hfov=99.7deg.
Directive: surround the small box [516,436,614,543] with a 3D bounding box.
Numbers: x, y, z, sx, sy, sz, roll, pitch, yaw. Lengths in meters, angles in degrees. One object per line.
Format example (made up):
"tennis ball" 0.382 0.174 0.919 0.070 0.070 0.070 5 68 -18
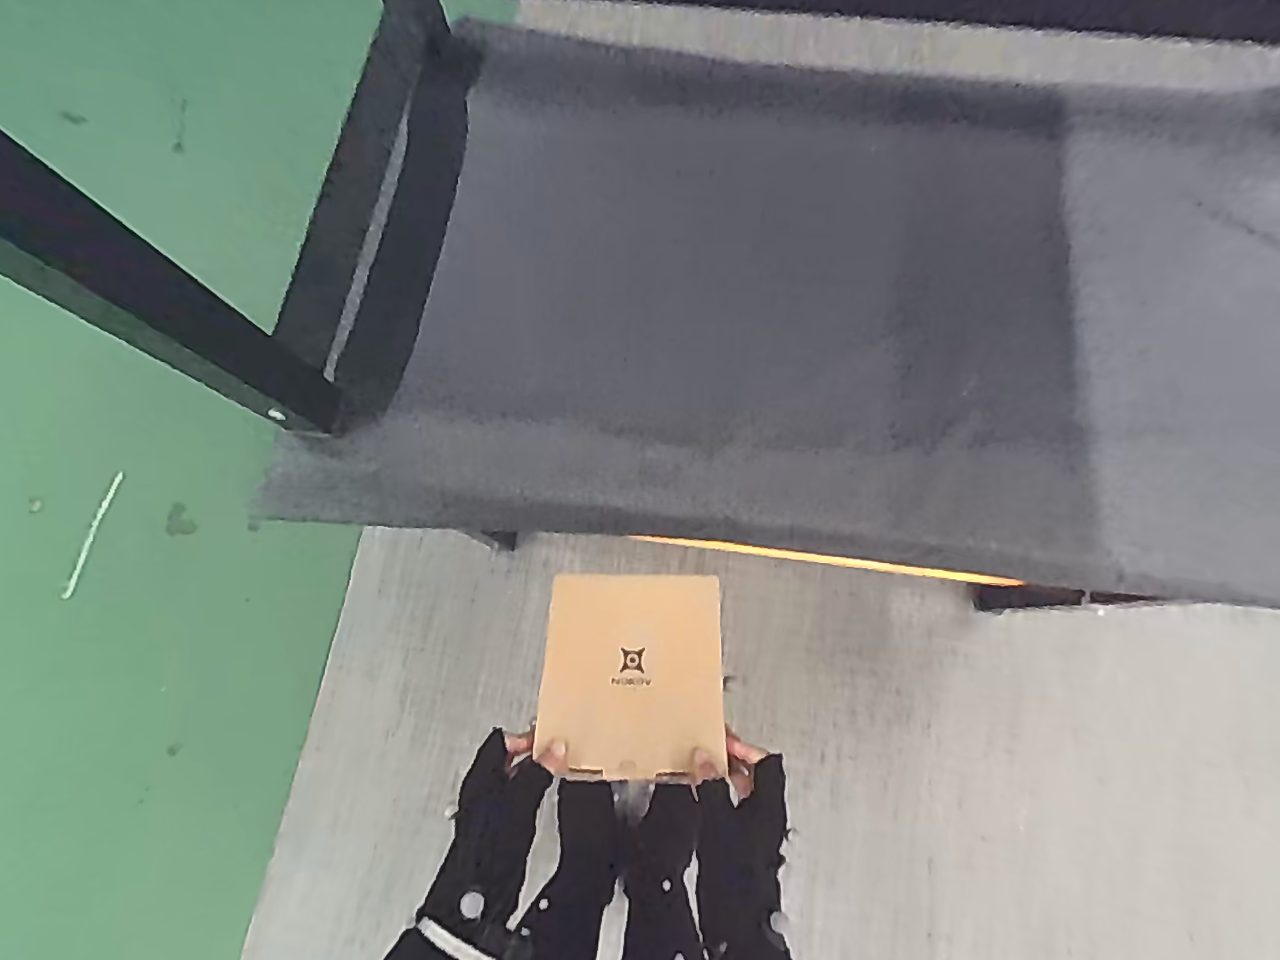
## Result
"small box" -0.147 0.025 1.126 0.168 0.176 0.179 6 76 3
